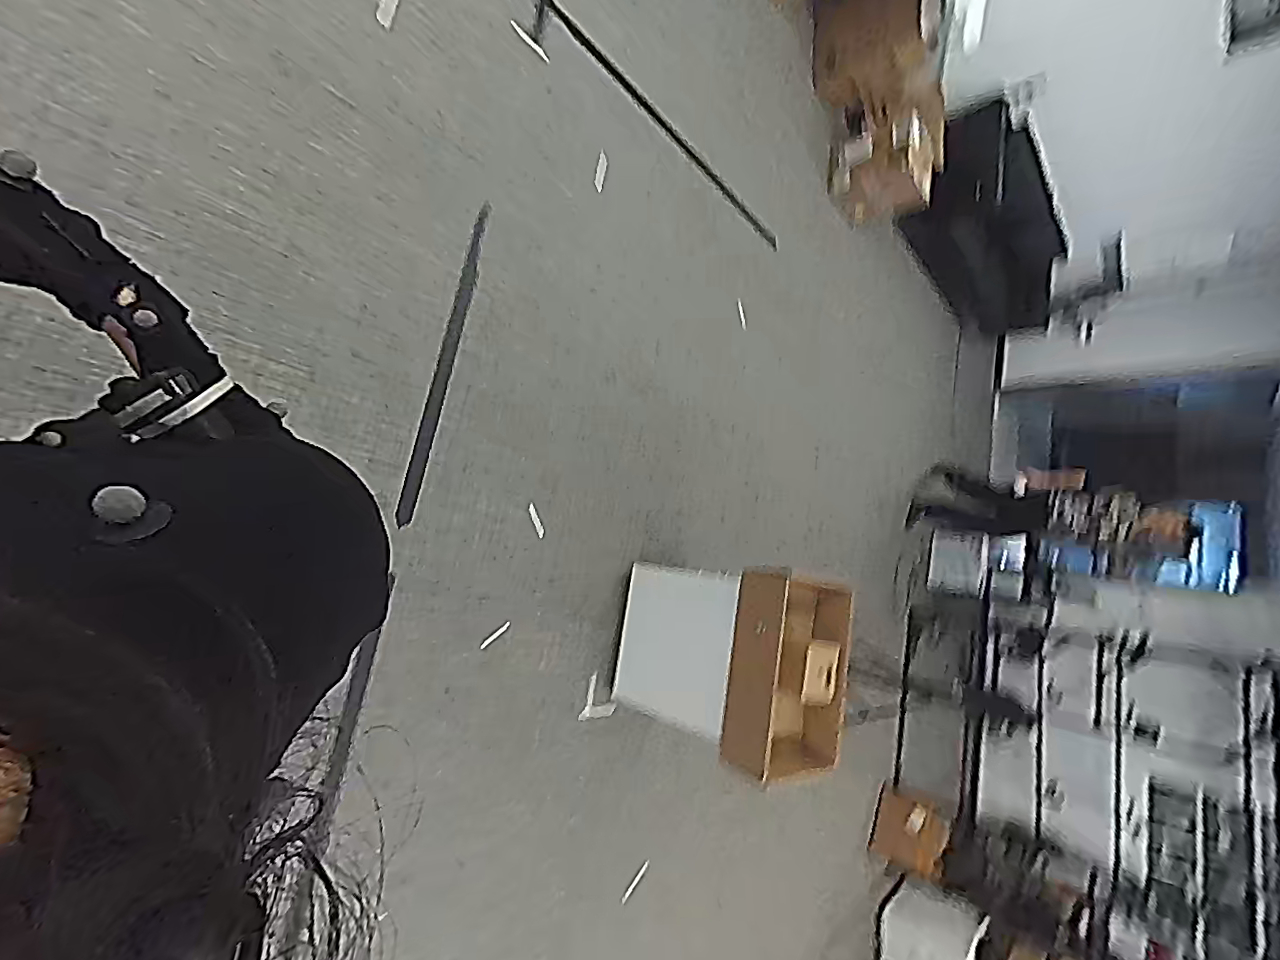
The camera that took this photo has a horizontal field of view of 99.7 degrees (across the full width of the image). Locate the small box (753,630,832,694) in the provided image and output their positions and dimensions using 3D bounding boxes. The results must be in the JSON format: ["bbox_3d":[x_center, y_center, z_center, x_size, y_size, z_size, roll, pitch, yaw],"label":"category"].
[{"bbox_3d":[0.493,0.586,1.749,0.179,0.176,0.168,19,77,-38],"label":"small box"}]
